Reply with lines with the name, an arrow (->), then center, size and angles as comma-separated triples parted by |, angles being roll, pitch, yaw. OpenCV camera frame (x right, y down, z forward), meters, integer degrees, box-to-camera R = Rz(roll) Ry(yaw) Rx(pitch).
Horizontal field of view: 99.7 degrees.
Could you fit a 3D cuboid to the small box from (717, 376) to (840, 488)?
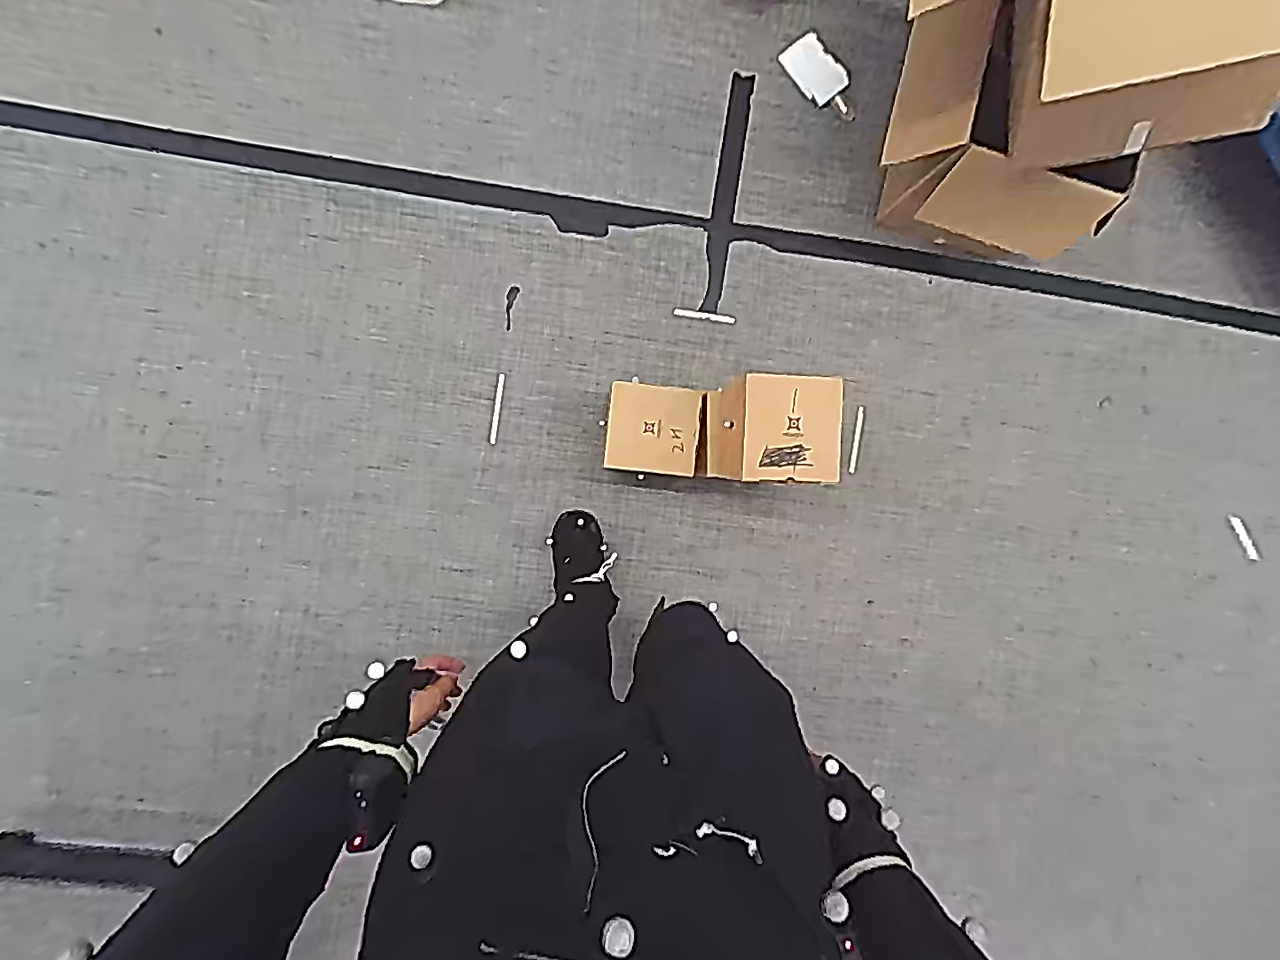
small box -> 0.236, -0.079, 0.959 | 0.168, 0.176, 0.179 | 2, 91, -5
